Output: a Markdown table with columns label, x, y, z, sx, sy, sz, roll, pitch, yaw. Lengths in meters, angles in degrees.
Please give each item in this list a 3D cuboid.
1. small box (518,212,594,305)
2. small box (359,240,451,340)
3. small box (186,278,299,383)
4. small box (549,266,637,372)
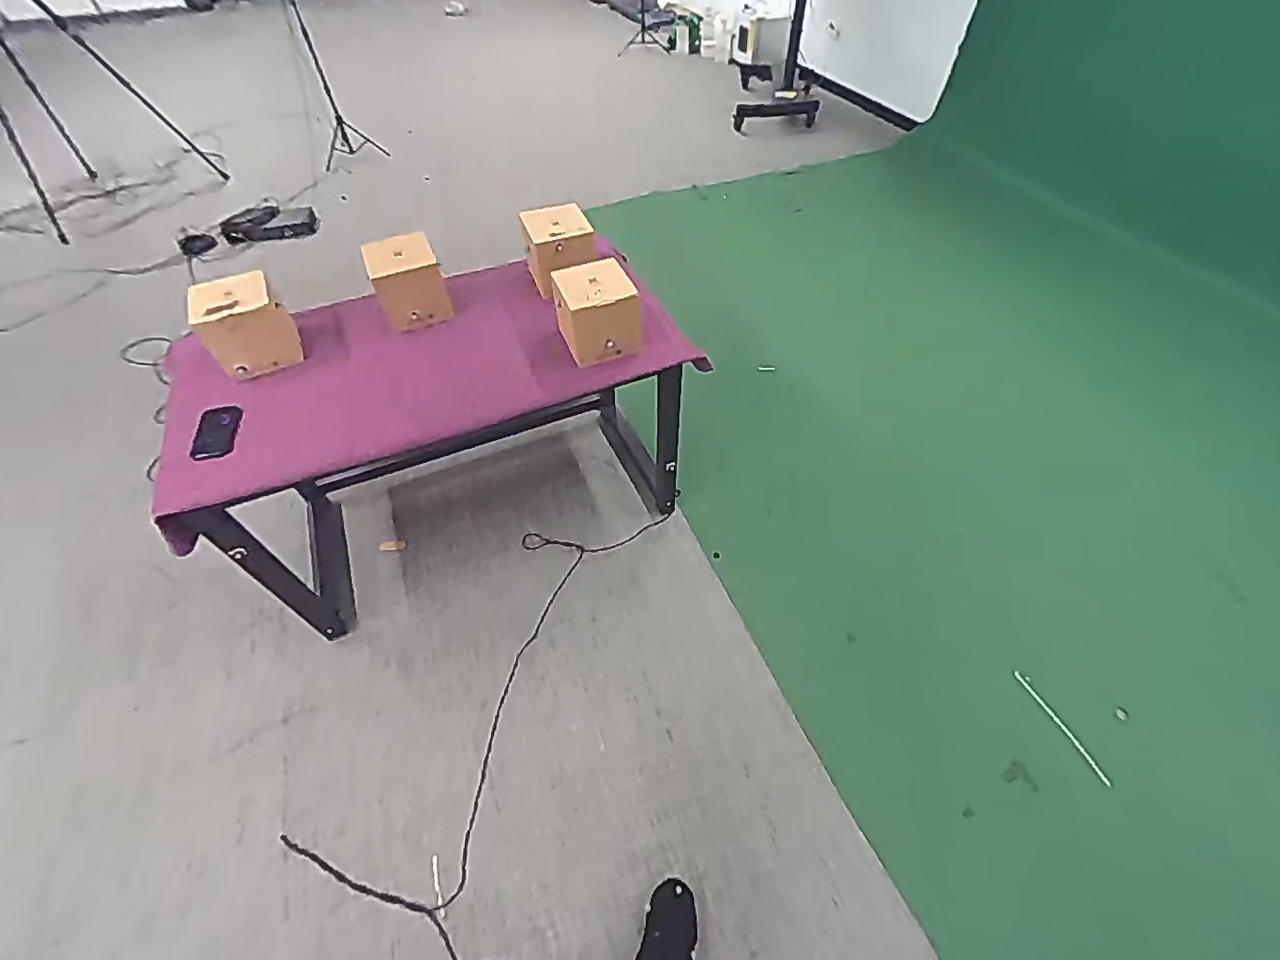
| label | x | y | z | sx | sy | sz | roll | pitch | yaw |
| --- | --- | --- | --- | --- | --- | --- | --- | --- | --- |
| small box | -0.233 | -0.620 | 1.517 | 0.168 | 0.176 | 0.179 | -18 | 53 | -12 |
| small box | -0.617 | -0.502 | 1.429 | 0.168 | 0.176 | 0.179 | -20 | 54 | -14 |
| small box | -0.959 | -0.357 | 1.315 | 0.168 | 0.176 | 0.179 | -22 | 53 | -17 |
| small box | -0.114 | -0.394 | 1.328 | 0.168 | 0.176 | 0.179 | -18 | 53 | -12 |
